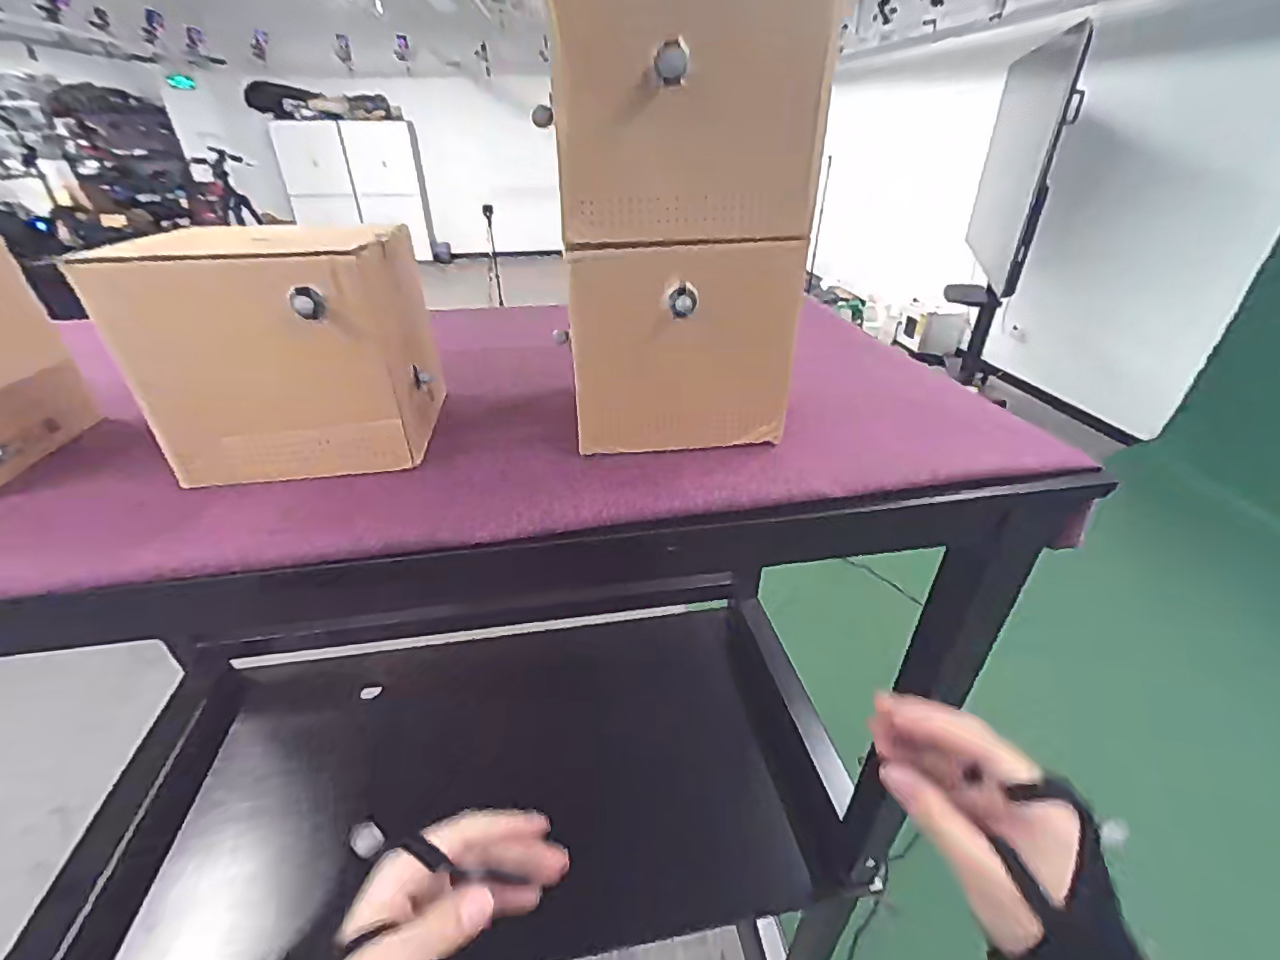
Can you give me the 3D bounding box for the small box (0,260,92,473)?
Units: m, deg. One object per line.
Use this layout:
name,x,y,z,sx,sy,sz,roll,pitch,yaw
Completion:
small box,-0.584,-0.079,0.397,0.179,0.176,0.168,-7,33,-9

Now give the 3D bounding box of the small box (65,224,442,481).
small box,-0.280,-0.110,0.449,0.179,0.176,0.168,-5,32,-8

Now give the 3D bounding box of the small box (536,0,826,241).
small box,0.023,-0.274,0.396,0.179,0.176,0.168,-5,33,-4

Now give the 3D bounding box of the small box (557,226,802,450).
small box,0.025,-0.135,0.482,0.179,0.176,0.168,-3,32,-4
